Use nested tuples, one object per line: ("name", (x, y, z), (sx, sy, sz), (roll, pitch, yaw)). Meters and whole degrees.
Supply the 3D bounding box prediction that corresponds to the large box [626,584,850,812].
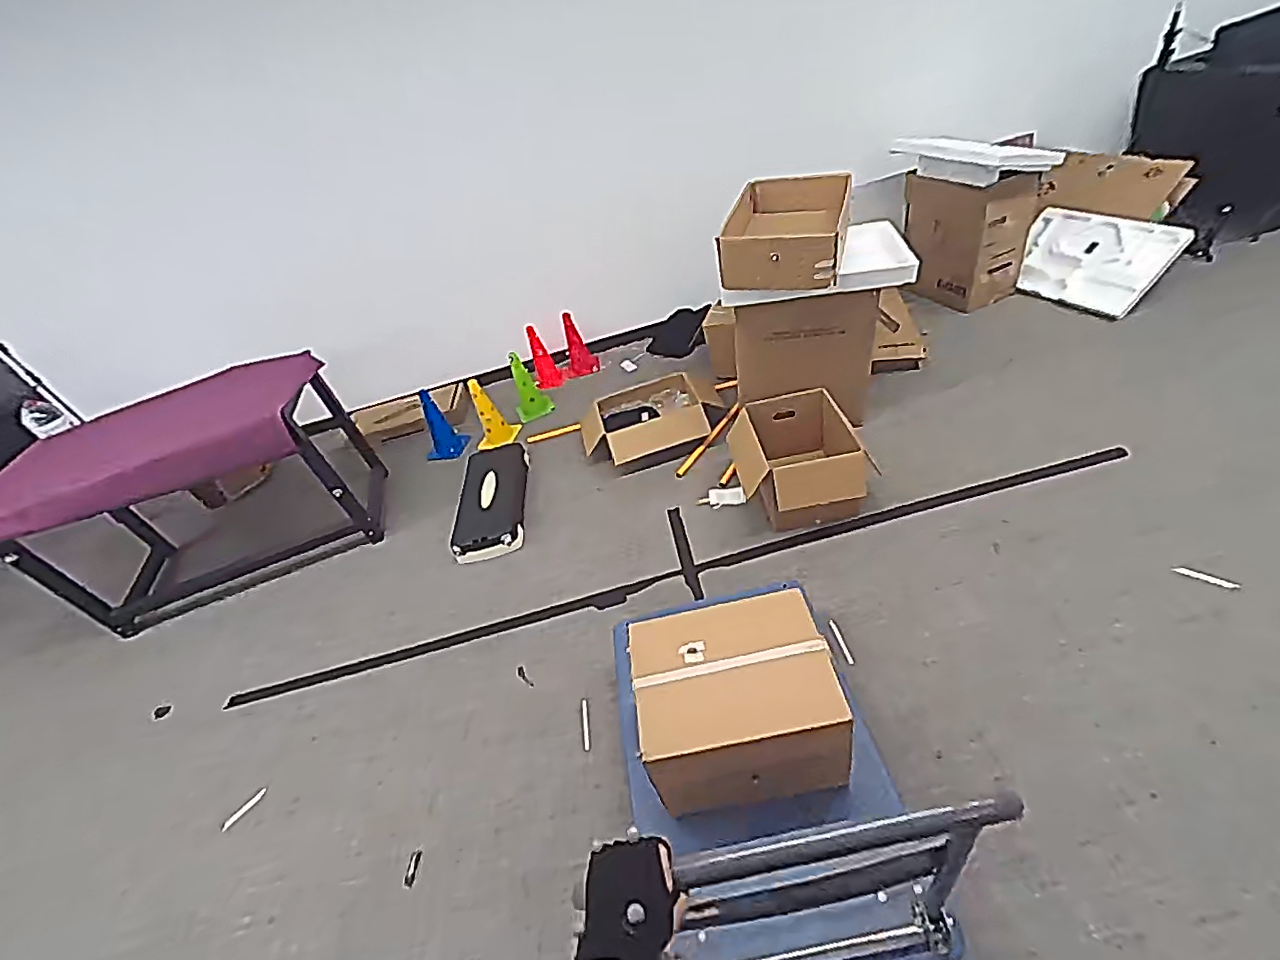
("large box", (0.212, 0.489, 1.209), (0.408, 0.320, 0.320), (-15, 38, 4))
